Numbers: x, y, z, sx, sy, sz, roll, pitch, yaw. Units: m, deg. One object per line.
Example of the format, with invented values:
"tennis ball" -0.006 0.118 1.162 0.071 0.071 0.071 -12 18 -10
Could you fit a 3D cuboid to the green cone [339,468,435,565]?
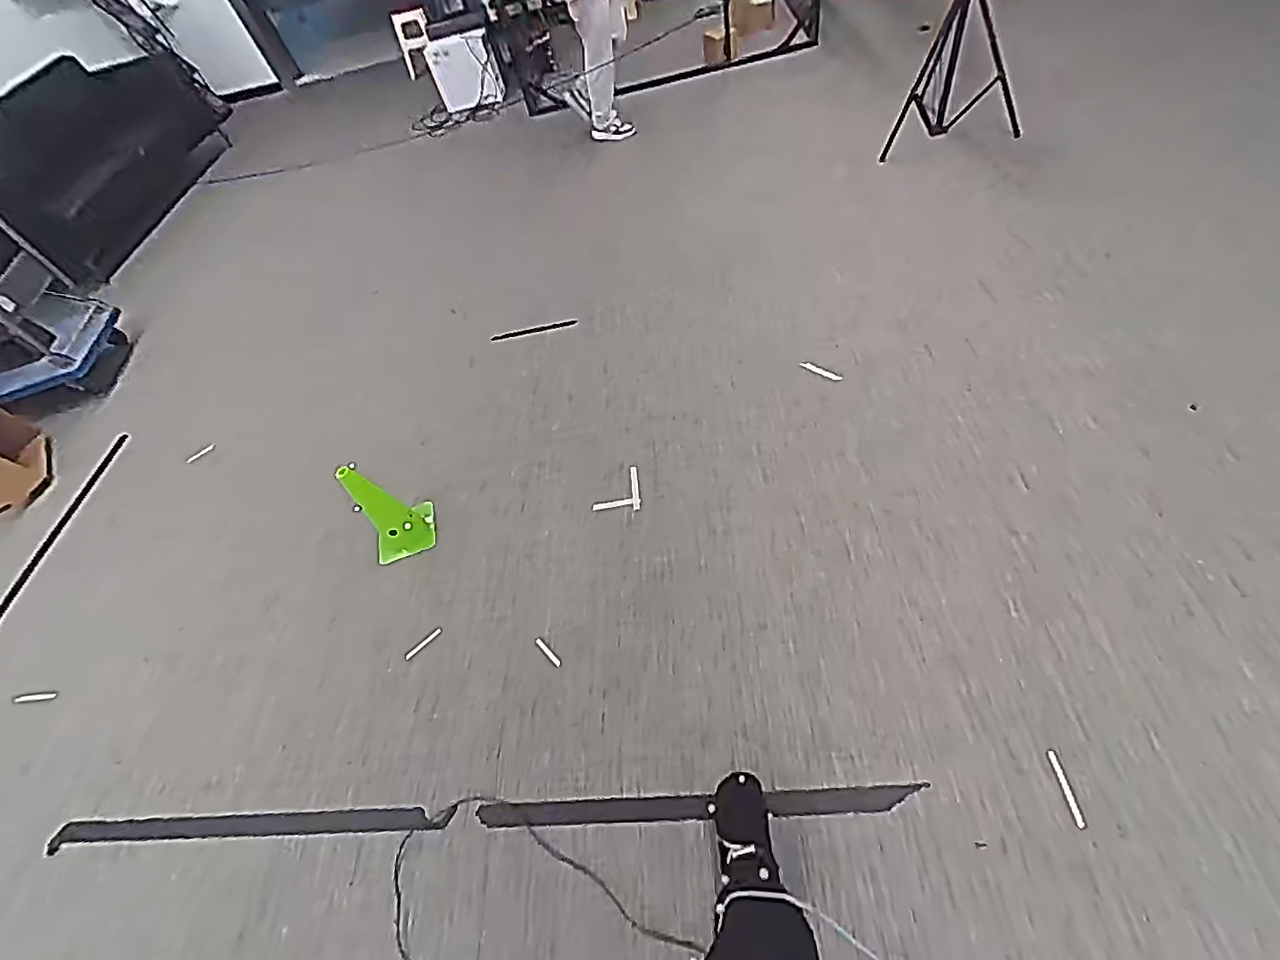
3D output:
"green cone" -0.836 0.088 1.723 0.202 0.368 0.200 -20 53 -2
